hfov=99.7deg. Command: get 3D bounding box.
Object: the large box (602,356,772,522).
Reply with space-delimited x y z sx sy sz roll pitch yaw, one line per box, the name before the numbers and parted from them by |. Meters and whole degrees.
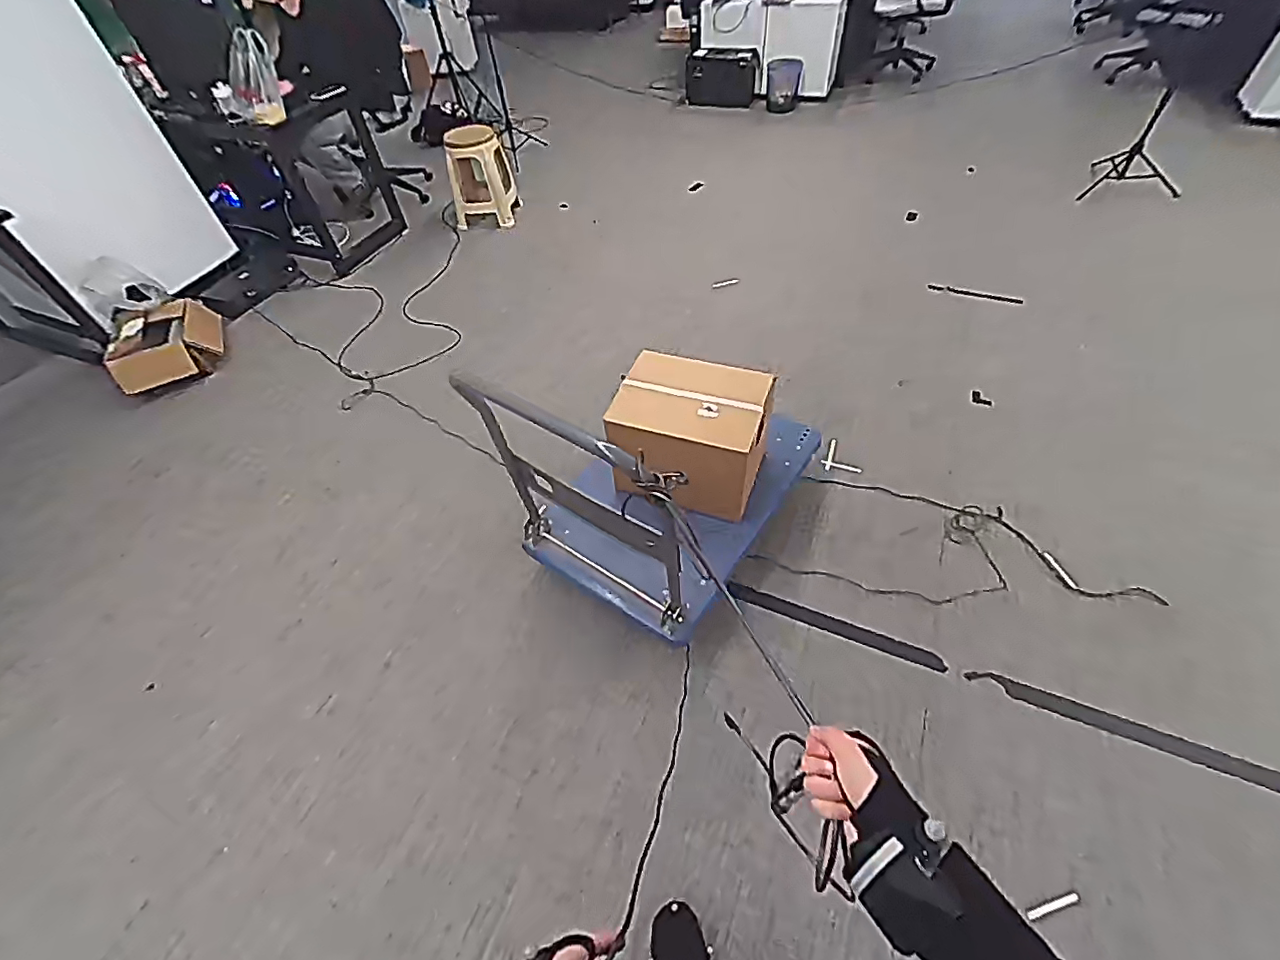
large box | 0.140 -0.123 1.596 0.408 0.320 0.320 15 54 16
